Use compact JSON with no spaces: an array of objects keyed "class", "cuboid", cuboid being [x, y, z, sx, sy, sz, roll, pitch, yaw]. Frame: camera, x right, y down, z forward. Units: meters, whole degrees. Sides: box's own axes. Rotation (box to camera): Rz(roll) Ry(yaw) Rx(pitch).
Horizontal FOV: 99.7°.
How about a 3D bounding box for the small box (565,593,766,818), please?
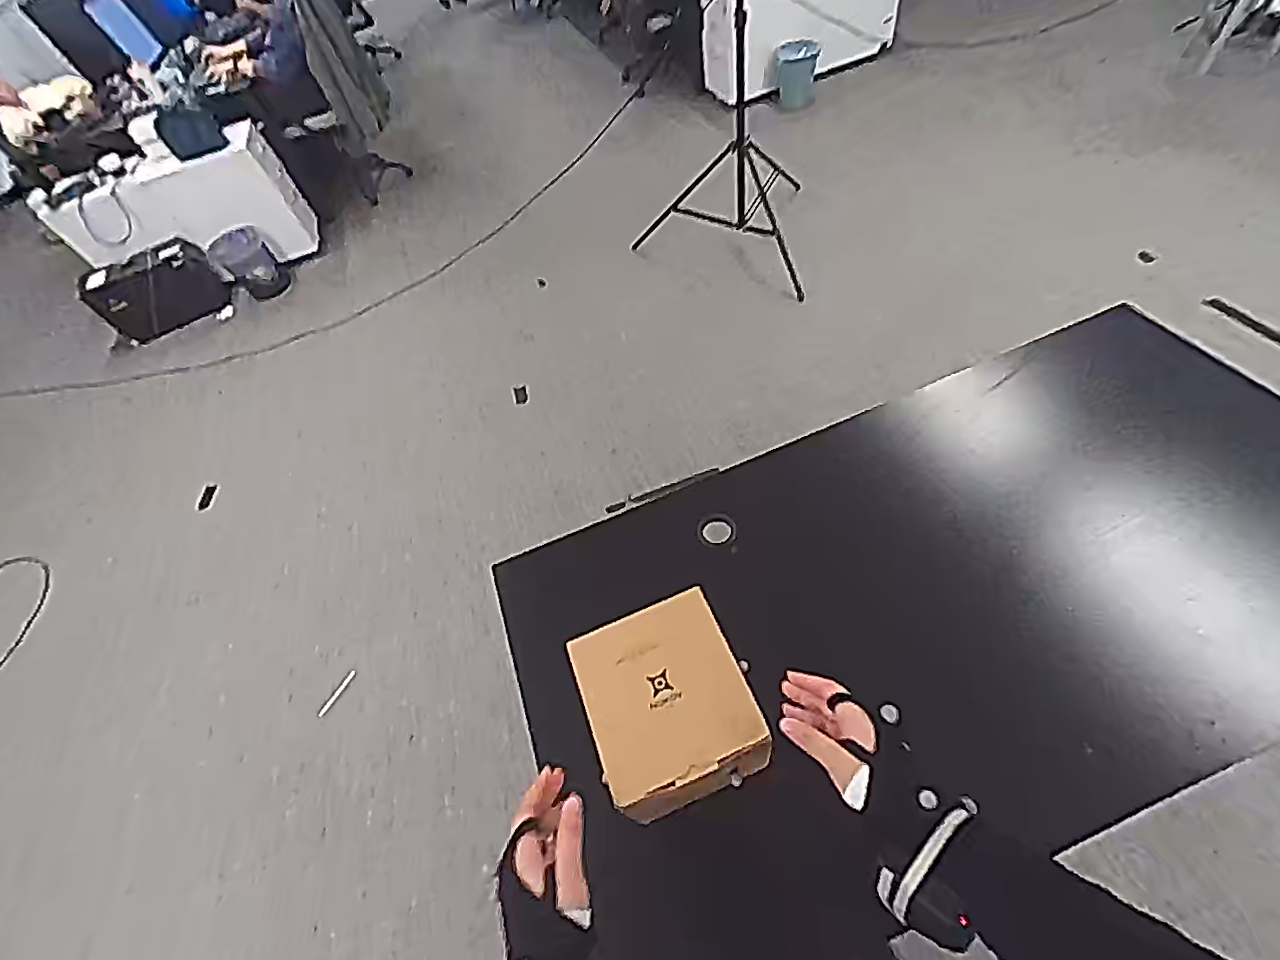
[{"class":"small box","cuboid":[0.032,0.267,0.626,0.168,0.176,0.179,-22,52,-6]}]
